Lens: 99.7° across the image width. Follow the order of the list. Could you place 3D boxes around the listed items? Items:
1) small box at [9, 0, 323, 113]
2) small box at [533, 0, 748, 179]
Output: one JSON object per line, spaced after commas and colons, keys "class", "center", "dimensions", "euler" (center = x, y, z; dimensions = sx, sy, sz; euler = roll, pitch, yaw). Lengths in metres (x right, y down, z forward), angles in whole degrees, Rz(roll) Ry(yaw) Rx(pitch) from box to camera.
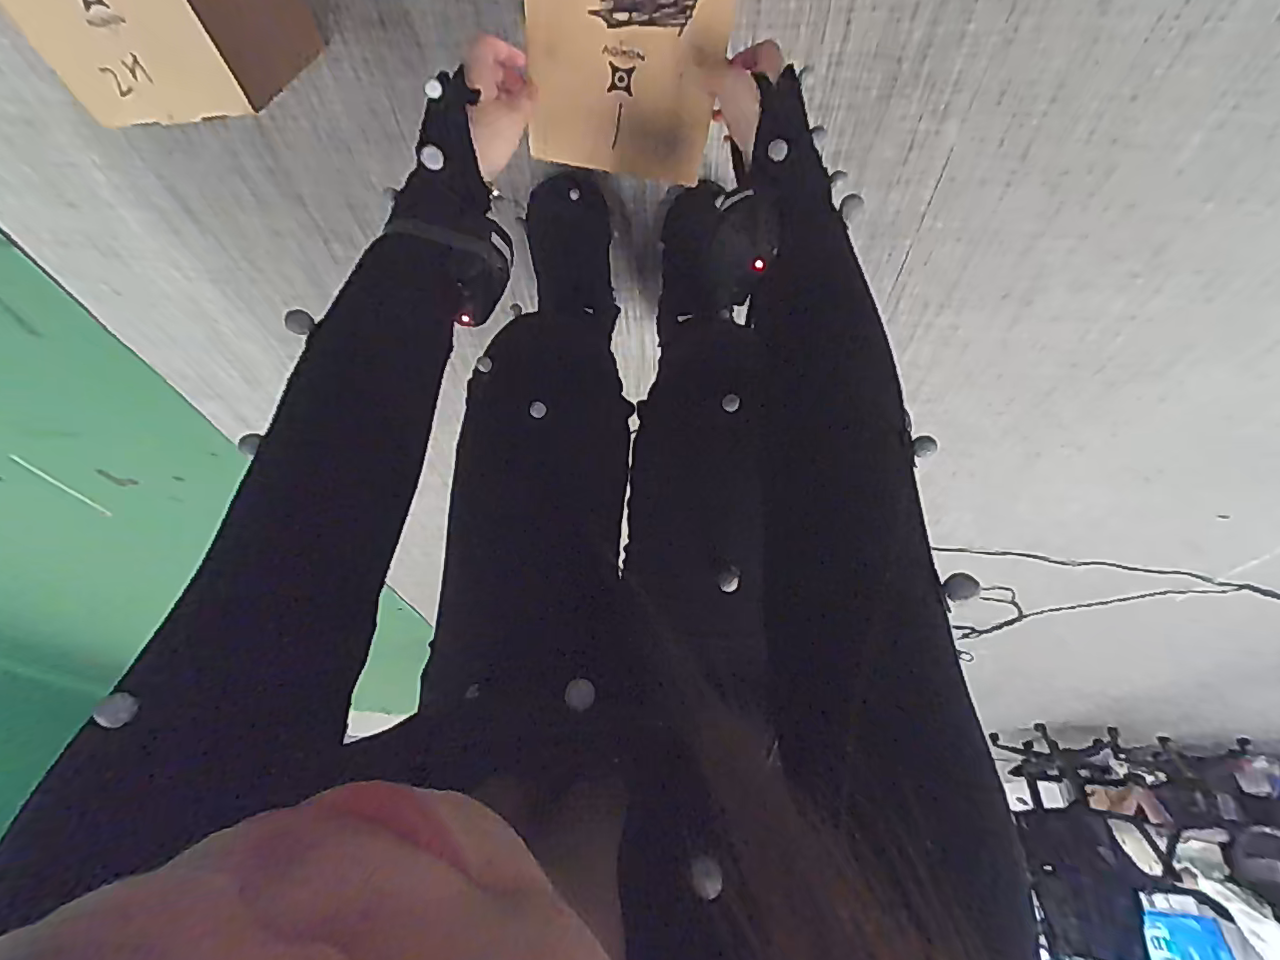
{"class": "small box", "center": [-0.427, -0.460, 0.475], "dimensions": [0.168, 0.176, 0.179], "euler": [0, 146, 7]}
{"class": "small box", "center": [-0.001, -0.414, 0.487], "dimensions": [0.168, 0.176, 0.179], "euler": [8, 147, -5]}
